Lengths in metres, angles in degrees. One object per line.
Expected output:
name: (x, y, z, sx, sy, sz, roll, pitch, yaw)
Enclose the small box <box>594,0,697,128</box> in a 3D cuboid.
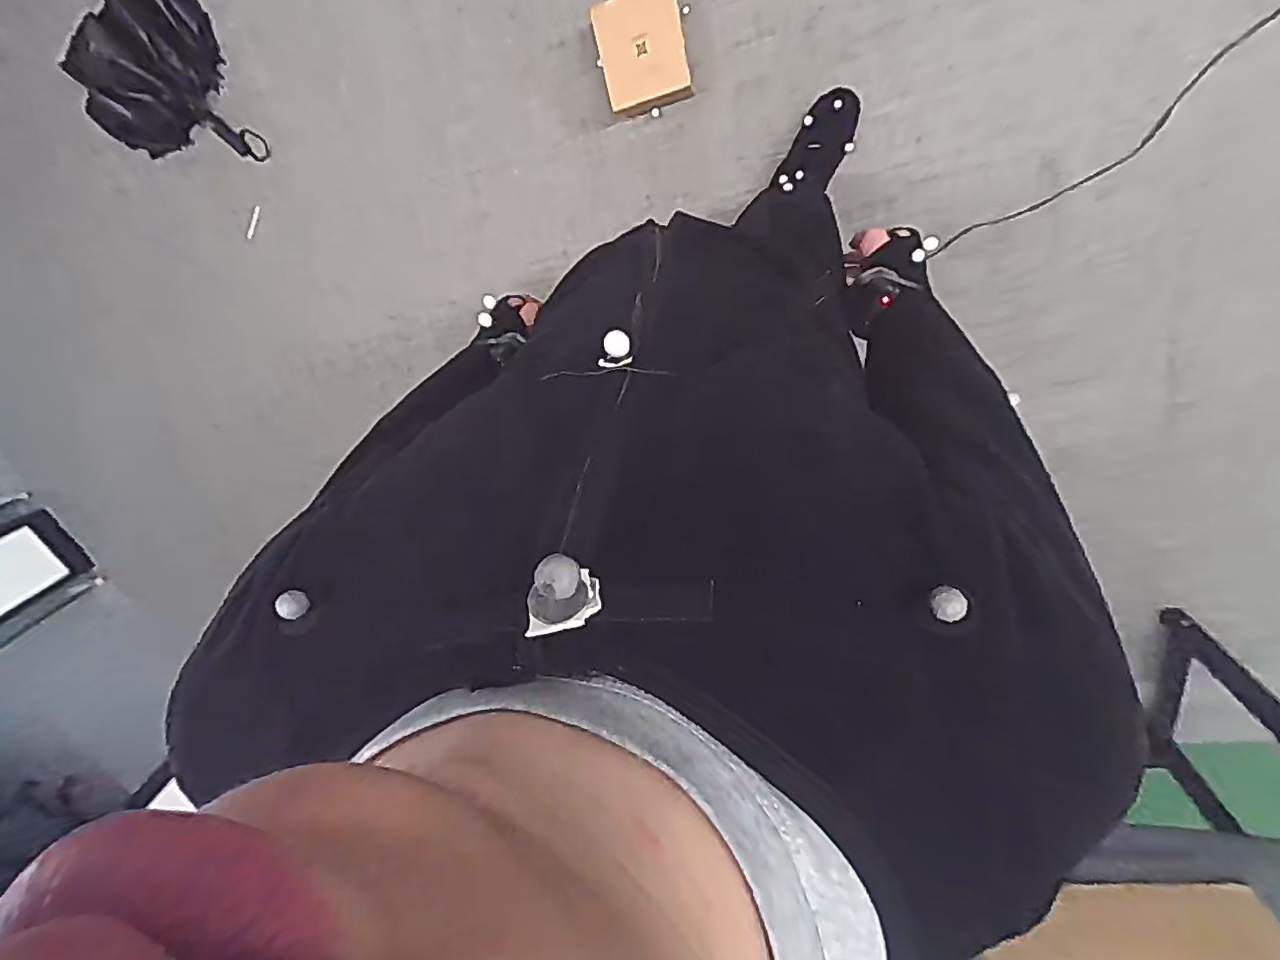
small box: (0.020, -0.858, 1.121, 0.168, 0.176, 0.179, -9, 118, 15)
